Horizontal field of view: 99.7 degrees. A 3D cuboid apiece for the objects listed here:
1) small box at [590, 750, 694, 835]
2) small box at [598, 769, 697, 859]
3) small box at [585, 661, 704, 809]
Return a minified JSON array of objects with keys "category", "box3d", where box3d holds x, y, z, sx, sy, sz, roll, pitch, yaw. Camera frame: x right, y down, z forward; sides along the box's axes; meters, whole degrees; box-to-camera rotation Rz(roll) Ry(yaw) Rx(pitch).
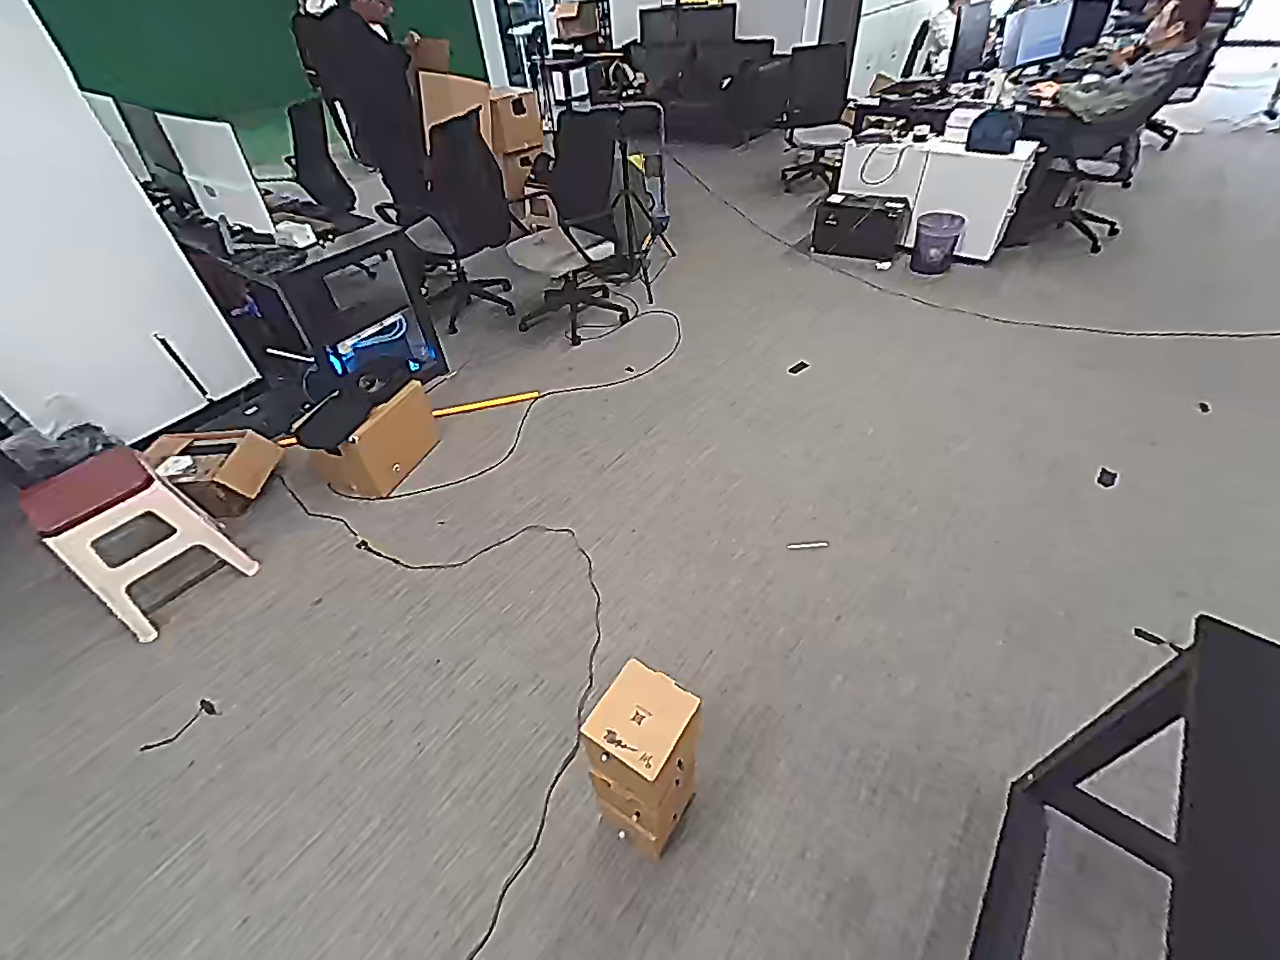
[{"category":"small box","box3d":[0.014,0.631,1.179,0.168,0.176,0.179,21,48,23]},{"category":"small box","box3d":[0.022,0.753,1.286,0.168,0.176,0.179,23,51,27]},{"category":"small box","box3d":[0.011,0.505,1.072,0.168,0.176,0.179,23,49,26]}]
